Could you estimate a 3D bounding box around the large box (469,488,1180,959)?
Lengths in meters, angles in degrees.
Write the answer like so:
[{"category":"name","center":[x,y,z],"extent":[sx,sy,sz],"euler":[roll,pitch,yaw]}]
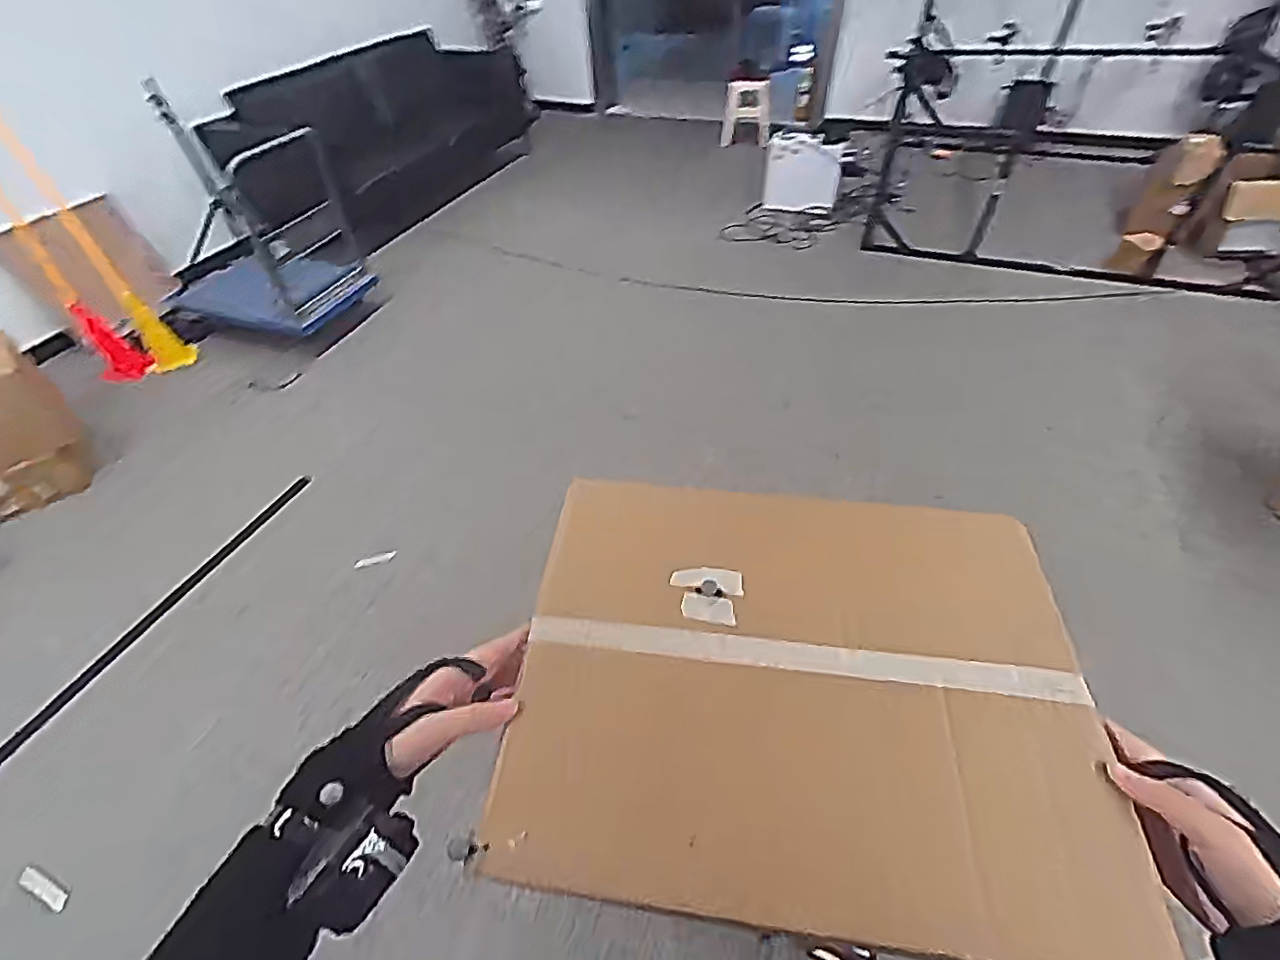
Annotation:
[{"category":"large box","center":[0.117,0.228,0.512],"extent":[0.408,0.320,0.320],"euler":[4,51,7]}]
